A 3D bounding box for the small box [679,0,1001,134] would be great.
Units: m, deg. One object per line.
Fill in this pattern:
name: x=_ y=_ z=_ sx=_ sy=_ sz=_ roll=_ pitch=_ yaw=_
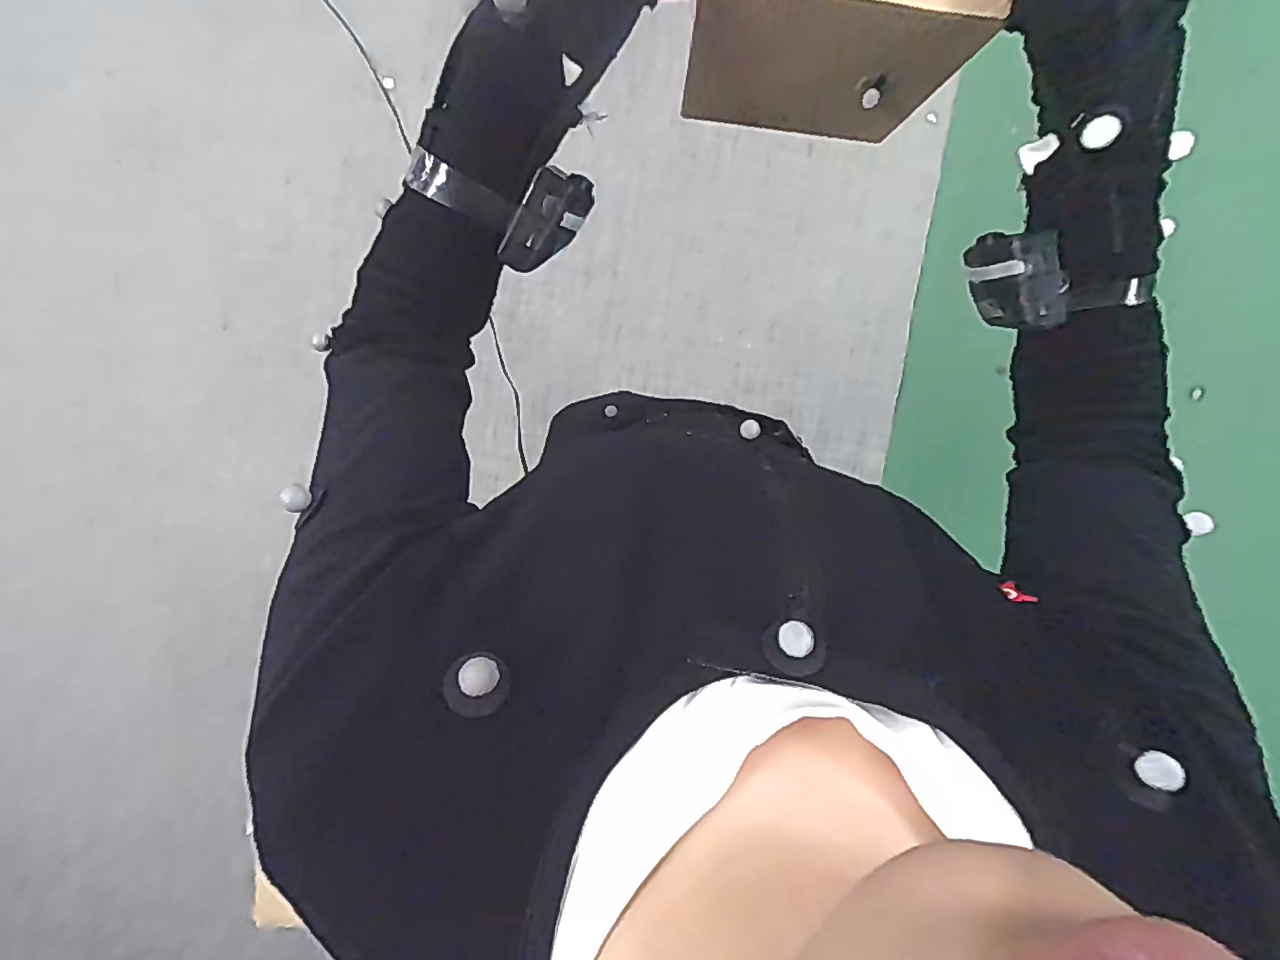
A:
small box: x=0.126 y=-0.363 z=0.367 sx=0.179 sy=0.176 sz=0.168 roll=6 pitch=101 yaw=0
